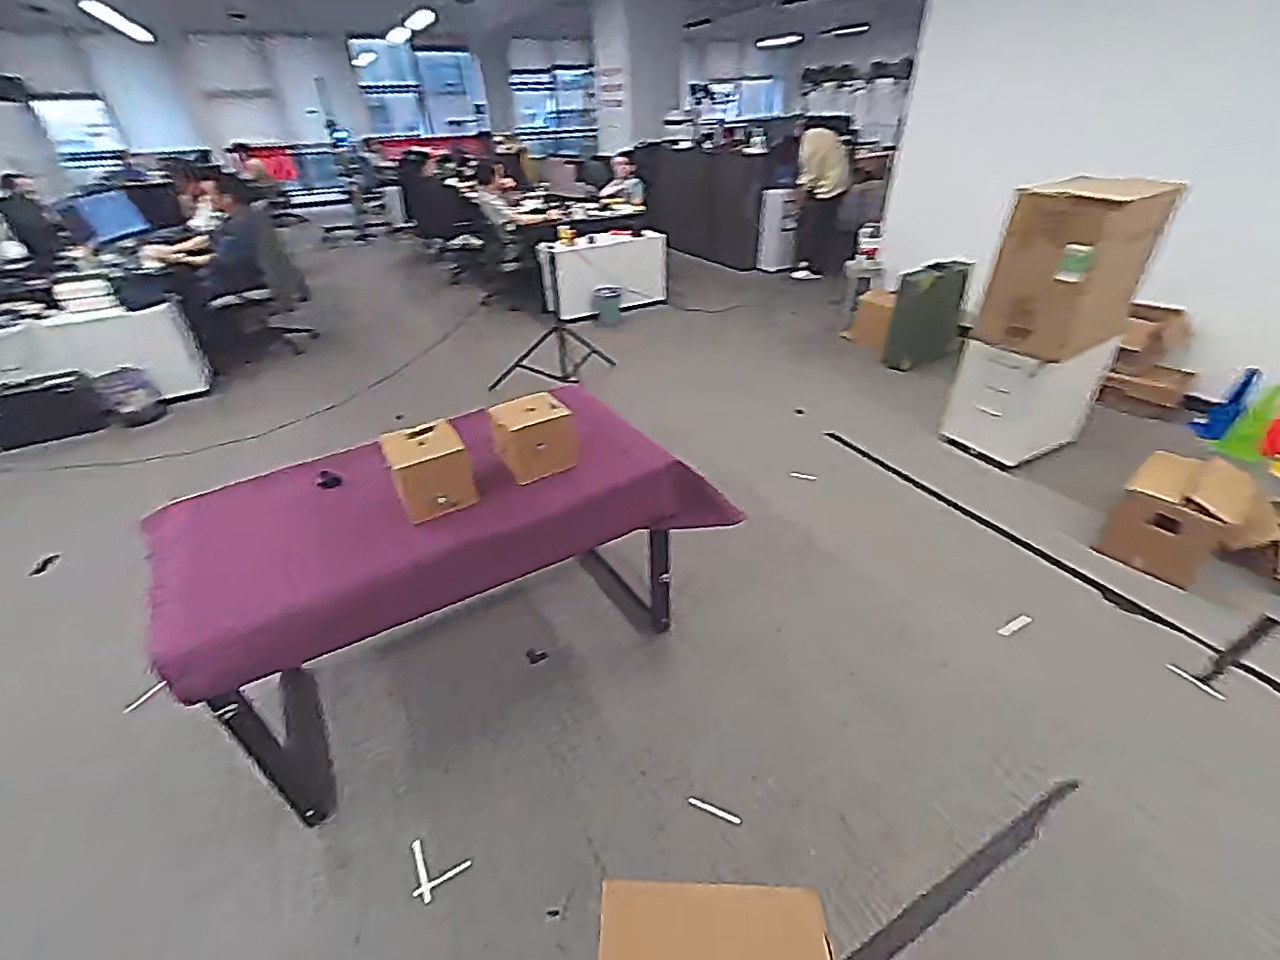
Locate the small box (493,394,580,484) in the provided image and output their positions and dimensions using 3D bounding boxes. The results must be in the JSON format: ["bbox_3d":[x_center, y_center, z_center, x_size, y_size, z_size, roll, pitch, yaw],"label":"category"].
[{"bbox_3d":[-0.281,-0.113,1.491,0.179,0.176,0.168,-22,39,-25],"label":"small box"}]

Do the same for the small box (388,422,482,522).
[{"bbox_3d":[-0.517,-0.021,1.370,0.168,0.176,0.179,-21,39,-25],"label":"small box"}]
